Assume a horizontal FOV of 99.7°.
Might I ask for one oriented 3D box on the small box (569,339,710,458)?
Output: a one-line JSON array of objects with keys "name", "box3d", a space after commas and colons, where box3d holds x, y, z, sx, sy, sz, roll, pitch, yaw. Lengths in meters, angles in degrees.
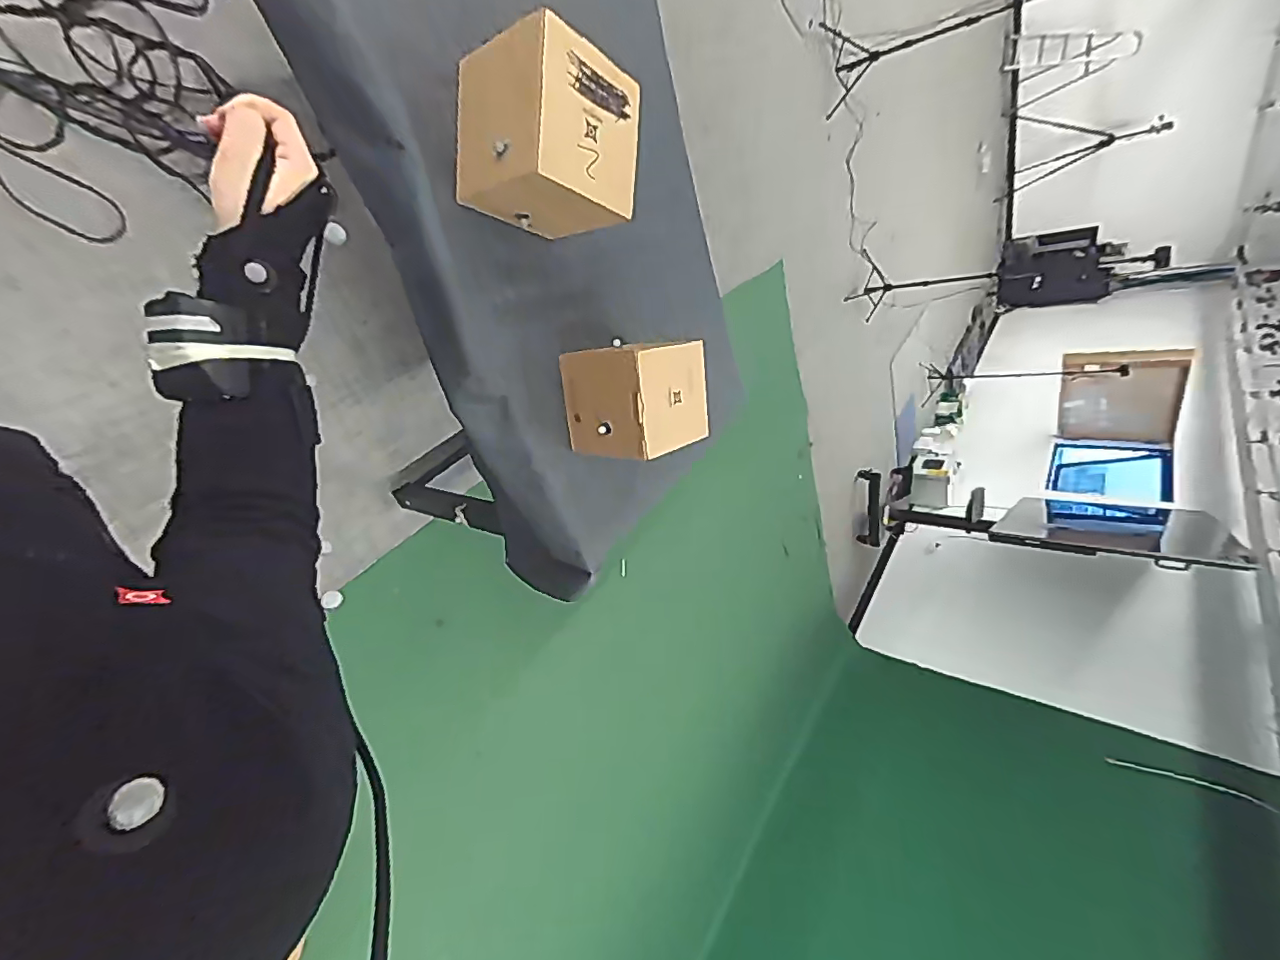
[{"name": "small box", "box3d": [-0.003, -0.140, 0.899, 0.179, 0.176, 0.168, -25, 116, -47]}]
